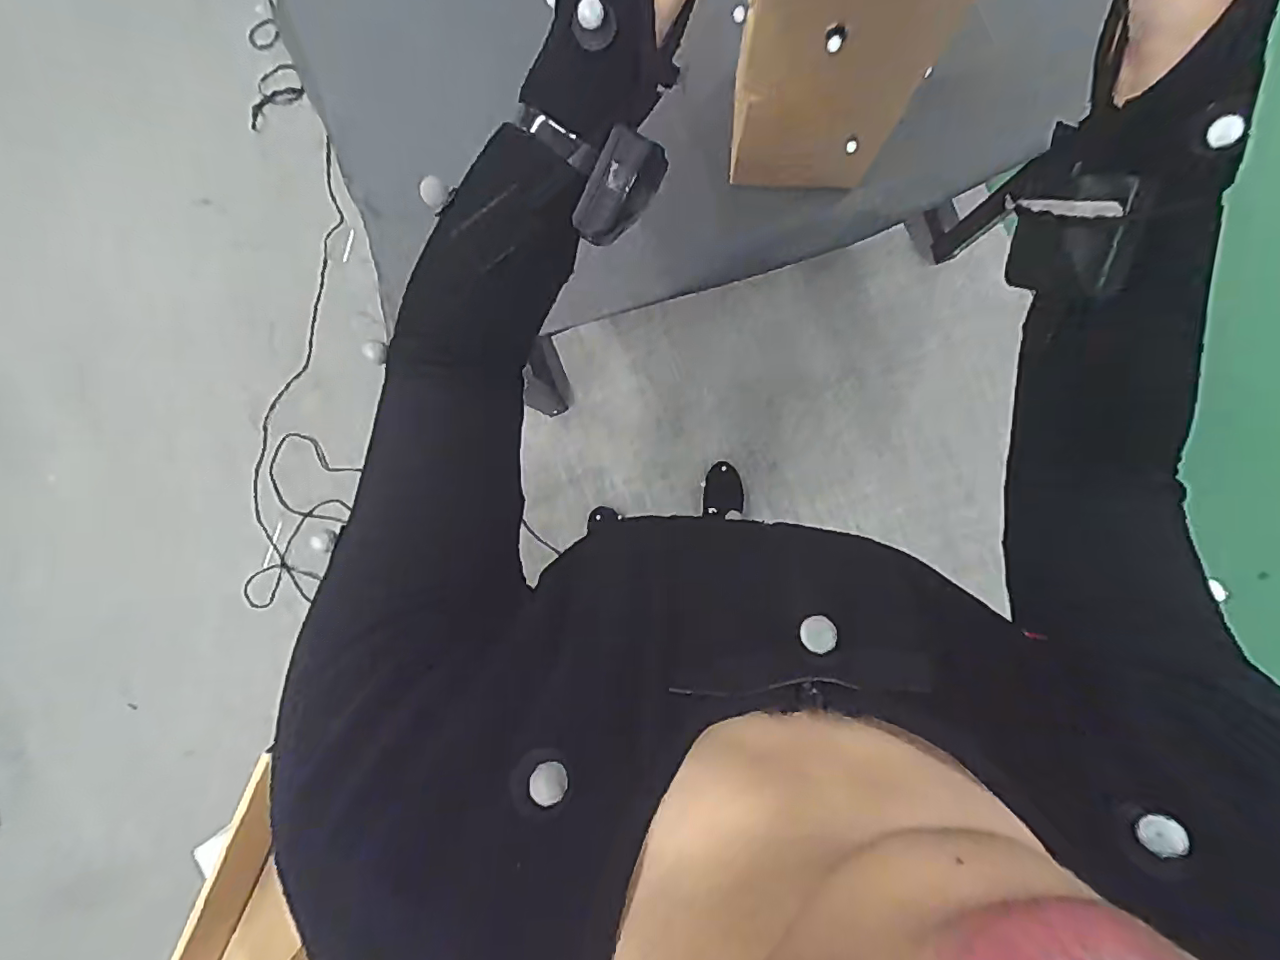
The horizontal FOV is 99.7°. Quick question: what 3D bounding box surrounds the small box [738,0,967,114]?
[{"bbox_3d":[0.200,-0.481,0.503,0.179,0.176,0.168,11,90,4],"label":"small box"}]
